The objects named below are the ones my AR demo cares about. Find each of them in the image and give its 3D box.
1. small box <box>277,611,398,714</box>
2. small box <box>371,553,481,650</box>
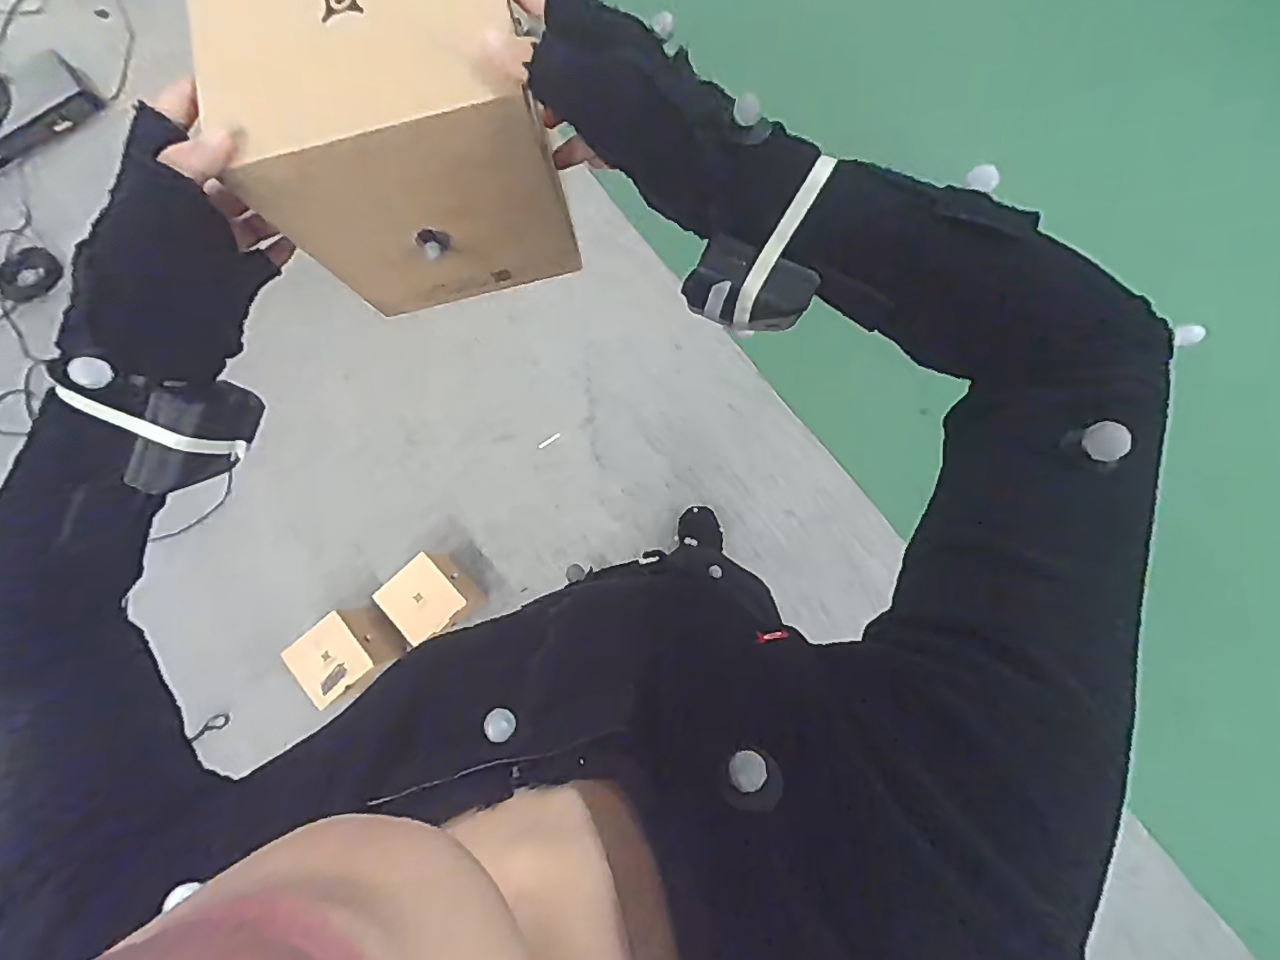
[{"bbox_3d":[-0.755,0.450,1.372,0.168,0.176,0.179,-40,82,-6],"label":"small box"},{"bbox_3d":[-0.544,0.309,1.397,0.168,0.176,0.179,-43,84,-6],"label":"small box"}]
